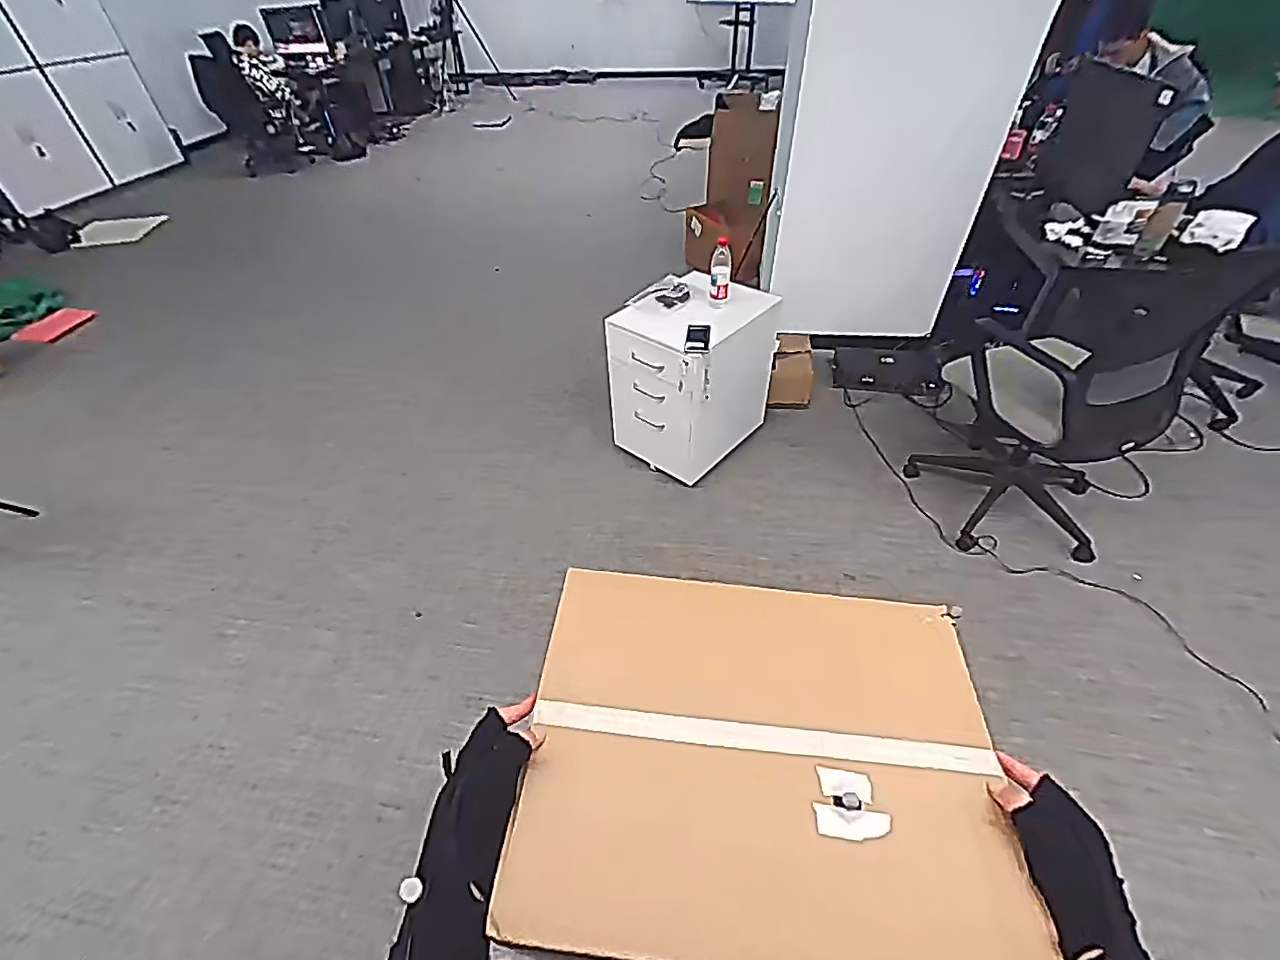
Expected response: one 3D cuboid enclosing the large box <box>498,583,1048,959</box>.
[{"bbox_3d":[0.100,0.341,0.586,0.408,0.320,0.320,6,47,3],"label":"large box"}]
